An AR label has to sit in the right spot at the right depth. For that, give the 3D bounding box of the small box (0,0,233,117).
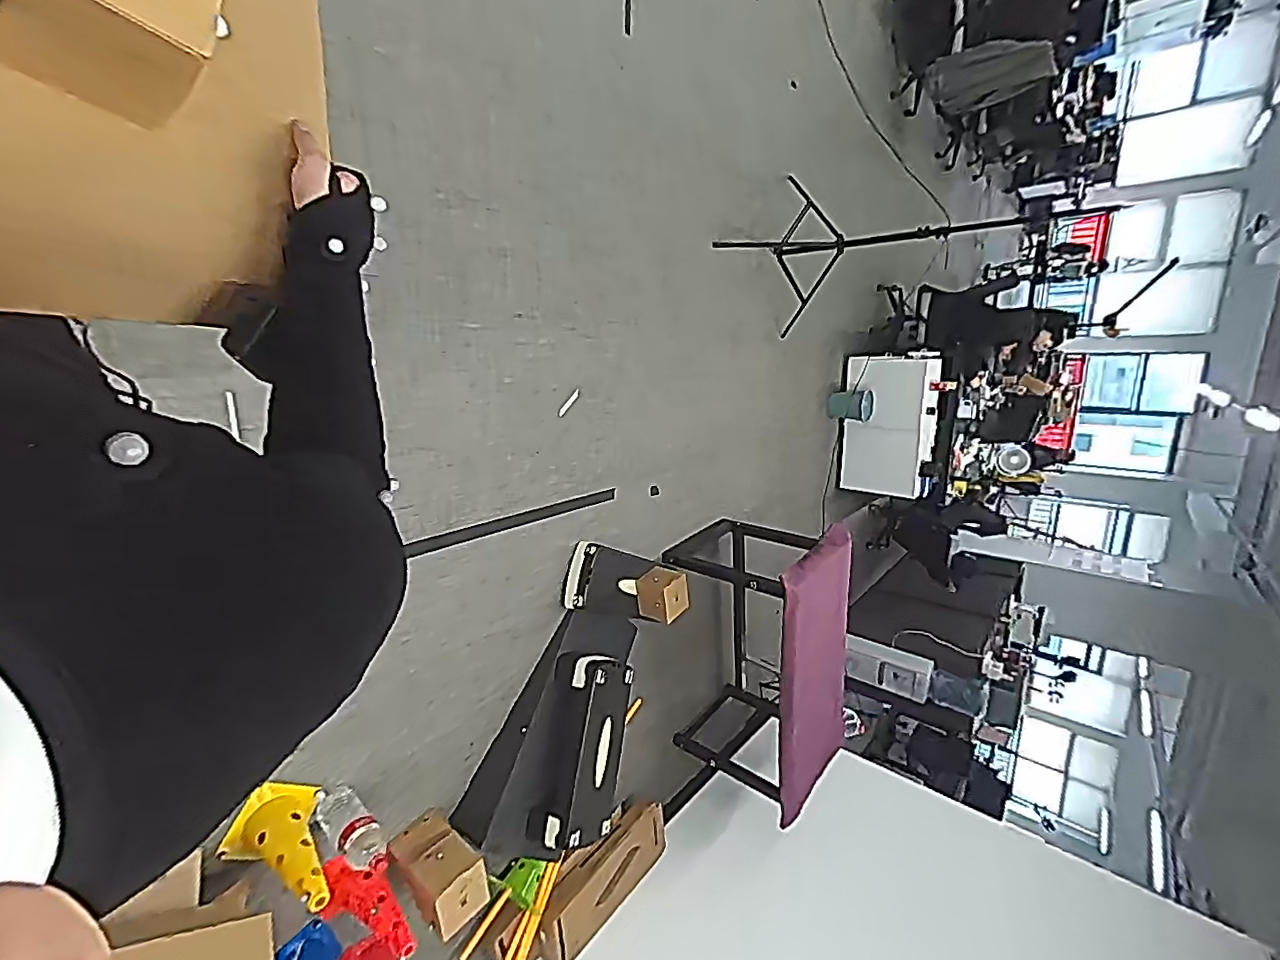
[{"bbox_3d":[-0.376,-0.366,0.338,0.179,0.176,0.168,7,92,-49],"label":"small box"}]
